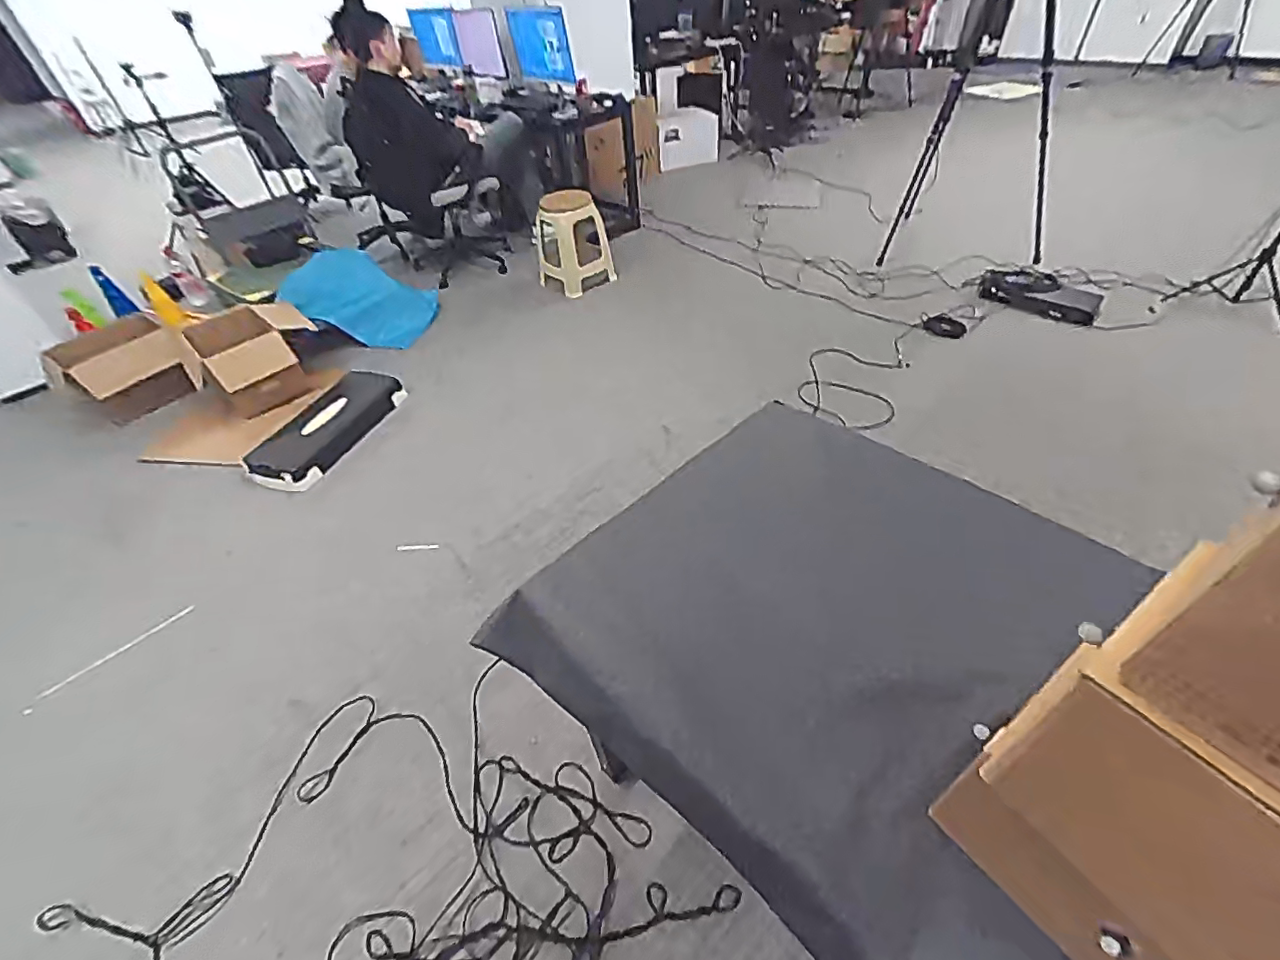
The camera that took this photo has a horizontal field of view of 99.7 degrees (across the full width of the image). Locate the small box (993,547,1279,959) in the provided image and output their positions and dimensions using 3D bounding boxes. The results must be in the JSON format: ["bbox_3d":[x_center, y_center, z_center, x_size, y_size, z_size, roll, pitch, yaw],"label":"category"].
[{"bbox_3d":[0.373,0.182,0.342,0.168,0.176,0.179,-27,48,-22],"label":"small box"}]

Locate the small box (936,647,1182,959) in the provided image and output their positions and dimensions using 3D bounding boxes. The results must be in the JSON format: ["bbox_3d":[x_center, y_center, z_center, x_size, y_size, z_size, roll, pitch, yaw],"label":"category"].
[{"bbox_3d":[0.400,0.289,0.464,0.168,0.176,0.179,-28,47,-23],"label":"small box"}]
